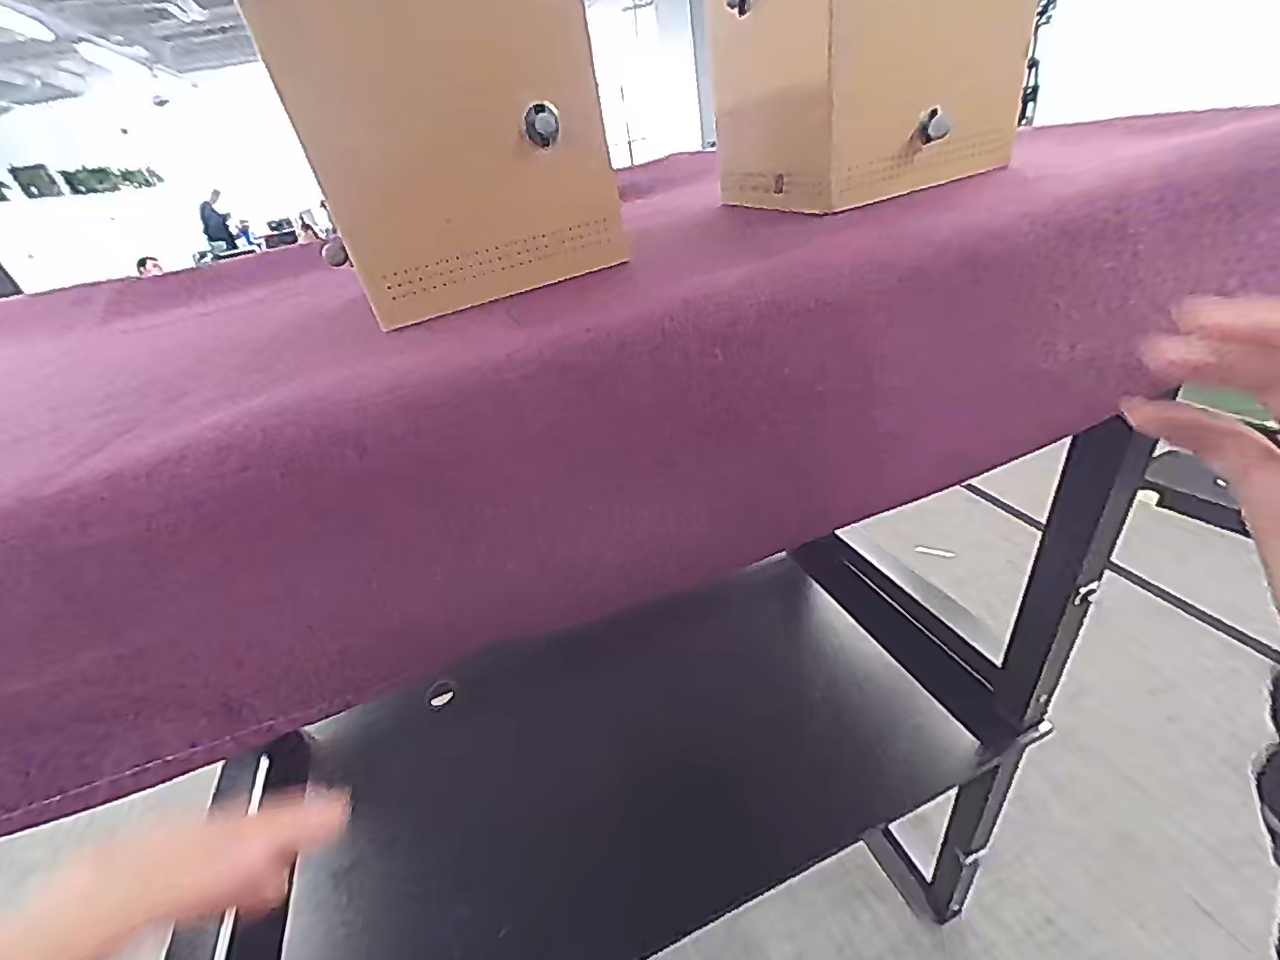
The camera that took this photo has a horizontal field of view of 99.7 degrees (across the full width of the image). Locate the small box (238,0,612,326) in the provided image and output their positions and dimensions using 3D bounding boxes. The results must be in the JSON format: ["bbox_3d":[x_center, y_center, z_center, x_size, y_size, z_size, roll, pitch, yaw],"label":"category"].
[{"bbox_3d":[-0.131,-0.225,0.378,0.179,0.176,0.168,-24,34,-17],"label":"small box"}]

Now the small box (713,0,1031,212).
[{"bbox_3d":[0.171,-0.327,0.431,0.179,0.176,0.168,-20,33,-12],"label":"small box"}]
